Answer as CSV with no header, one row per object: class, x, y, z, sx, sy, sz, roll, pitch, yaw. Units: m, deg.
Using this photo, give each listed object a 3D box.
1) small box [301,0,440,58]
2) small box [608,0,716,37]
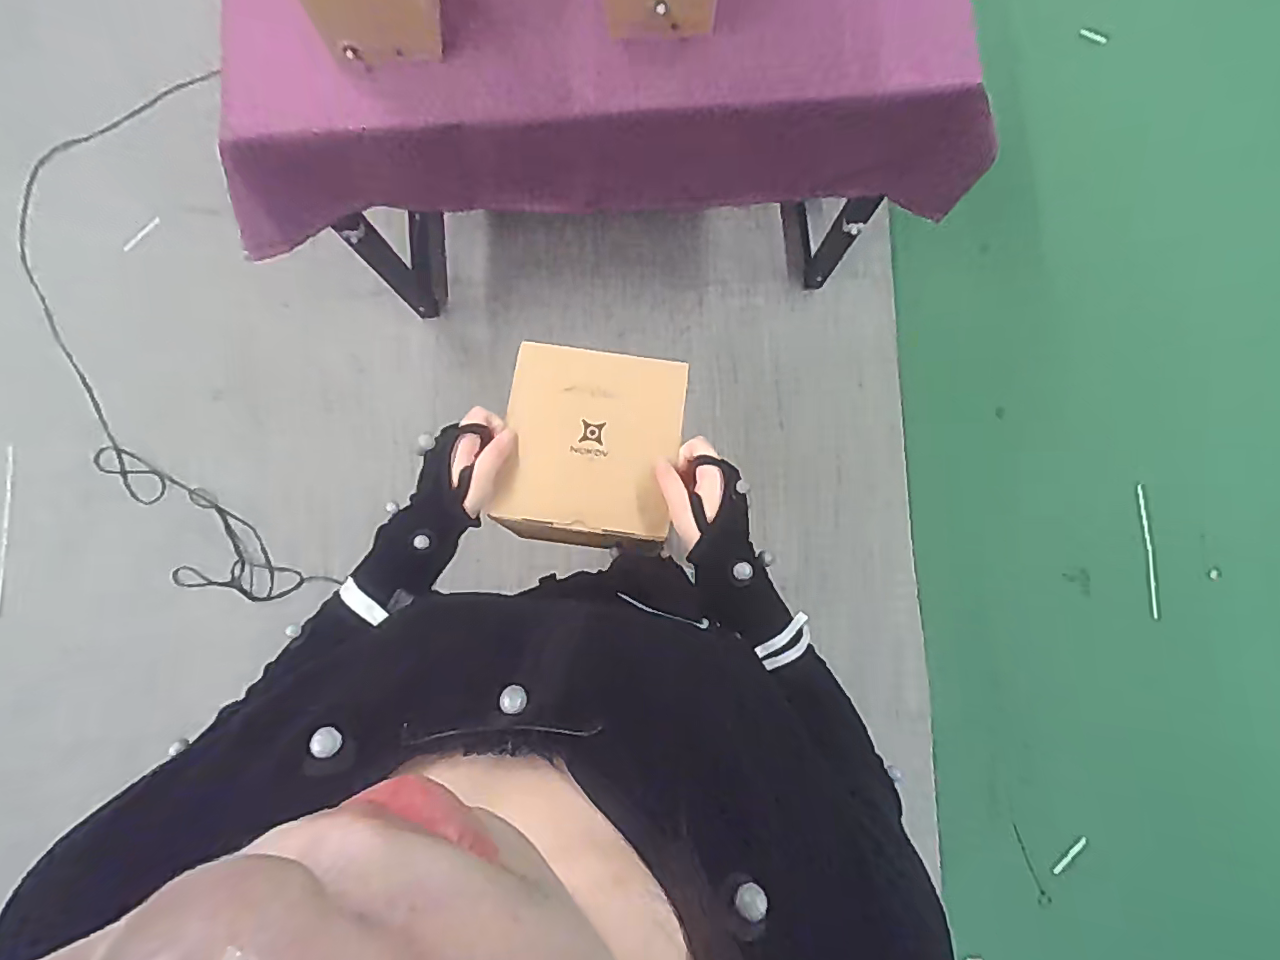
small box,-0.401,-0.754,0.784,0.168,0.176,0.179,-5,83,-1
small box,0.031,-0.801,0.790,0.168,0.176,0.179,-2,84,0
